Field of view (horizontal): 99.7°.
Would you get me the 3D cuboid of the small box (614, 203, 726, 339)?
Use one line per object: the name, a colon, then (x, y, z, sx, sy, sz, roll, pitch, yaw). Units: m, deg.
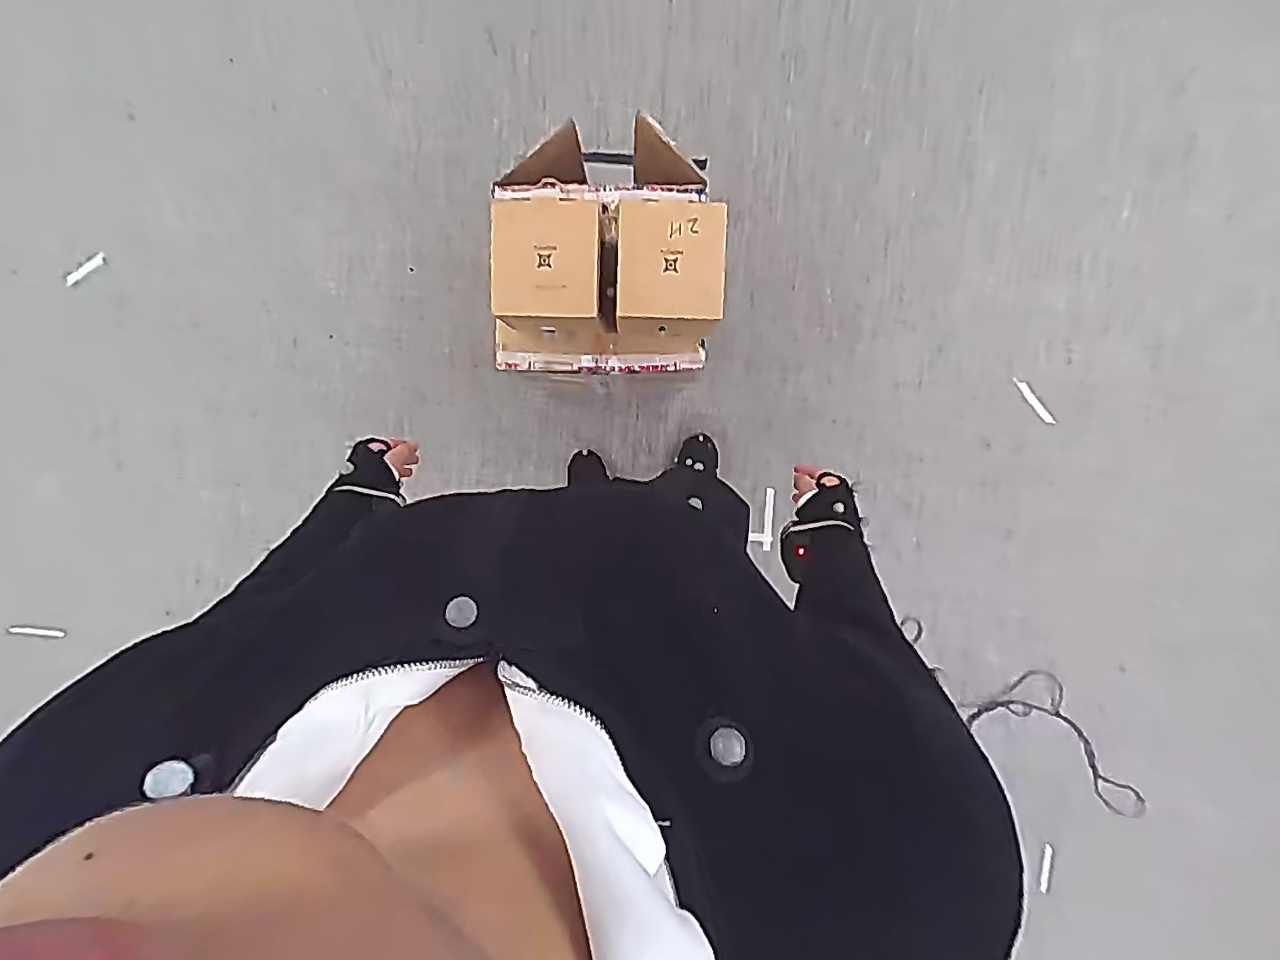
small box: (0.044, -0.338, 0.907, 0.168, 0.176, 0.179, 2, 95, -2)

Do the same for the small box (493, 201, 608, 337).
small box: (-0.143, -0.344, 0.907, 0.168, 0.176, 0.179, 1, 97, 1)
